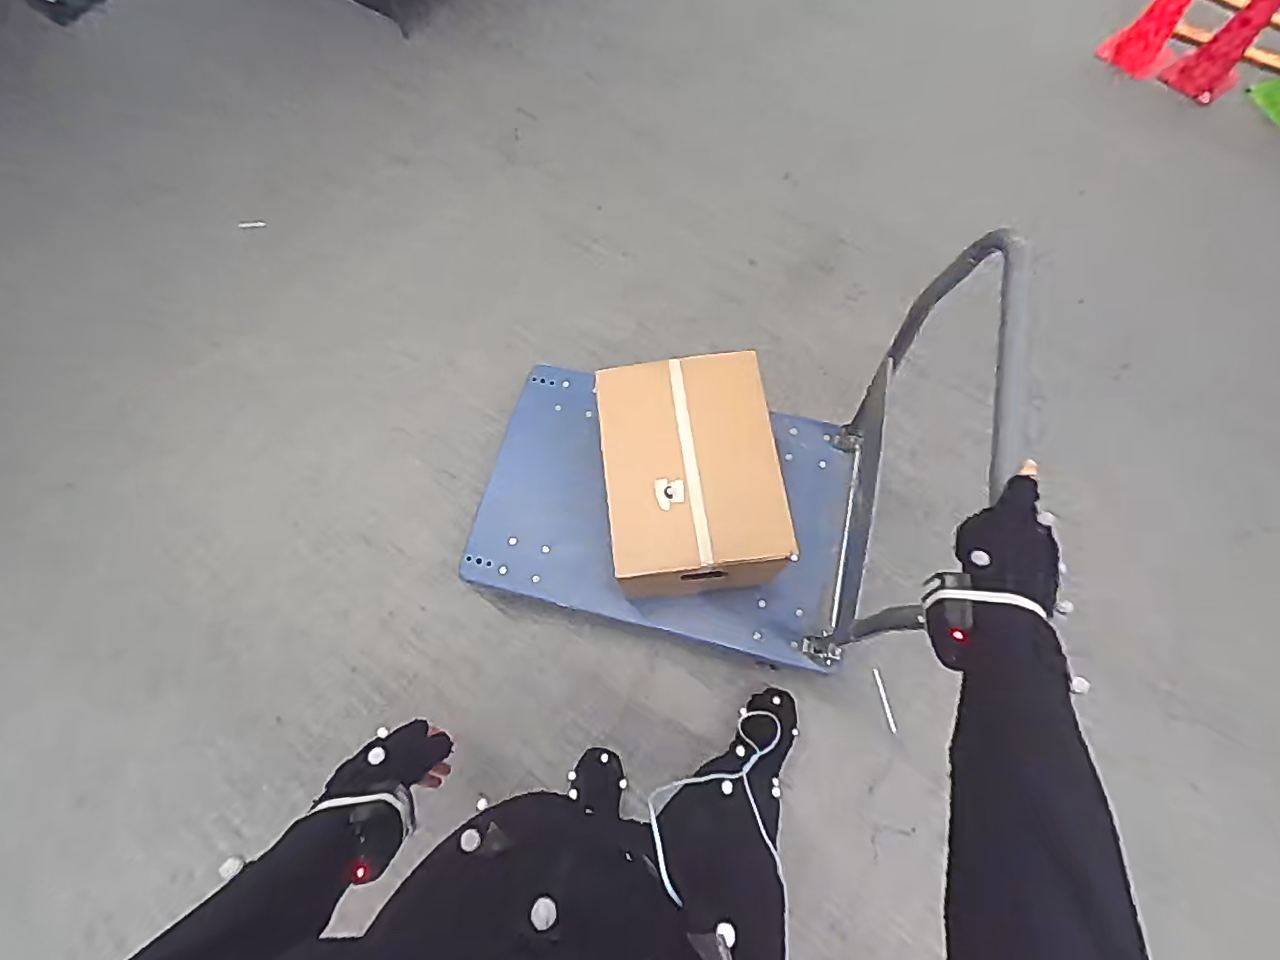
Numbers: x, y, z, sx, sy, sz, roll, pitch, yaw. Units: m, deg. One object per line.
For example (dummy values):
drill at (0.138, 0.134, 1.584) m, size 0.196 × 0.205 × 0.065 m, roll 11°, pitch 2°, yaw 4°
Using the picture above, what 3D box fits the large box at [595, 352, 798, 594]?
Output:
large box at (0.095, 0.002, 1.119) m, size 0.320 × 0.320 × 0.408 m, roll -7°, pitch 71°, yaw 0°
